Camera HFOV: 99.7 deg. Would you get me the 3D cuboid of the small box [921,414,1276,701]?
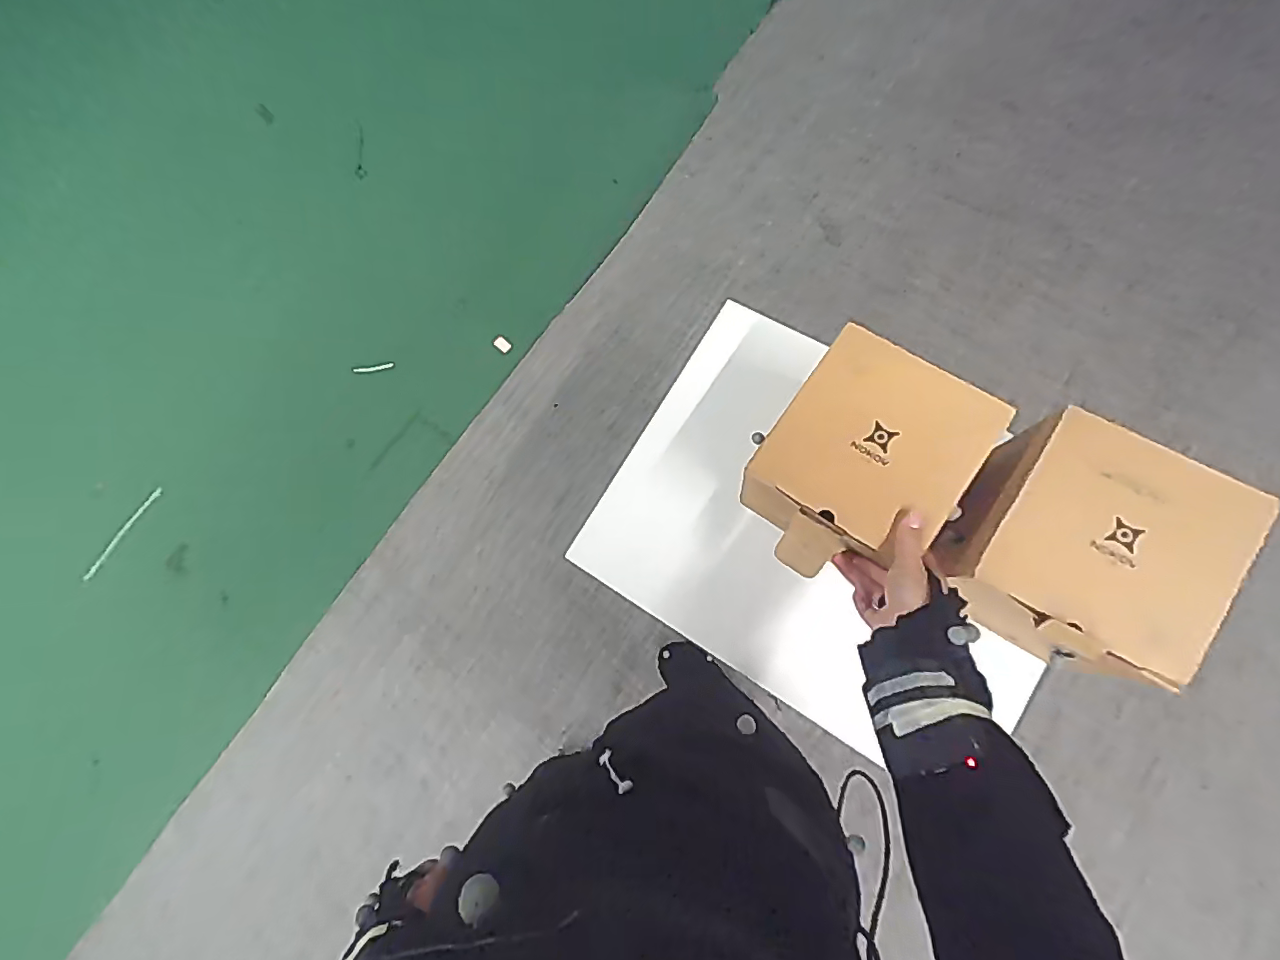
[{"bbox_3d":[0.396,0.072,0.508,0.168,0.176,0.179,31,83,14],"label":"small box"}]
